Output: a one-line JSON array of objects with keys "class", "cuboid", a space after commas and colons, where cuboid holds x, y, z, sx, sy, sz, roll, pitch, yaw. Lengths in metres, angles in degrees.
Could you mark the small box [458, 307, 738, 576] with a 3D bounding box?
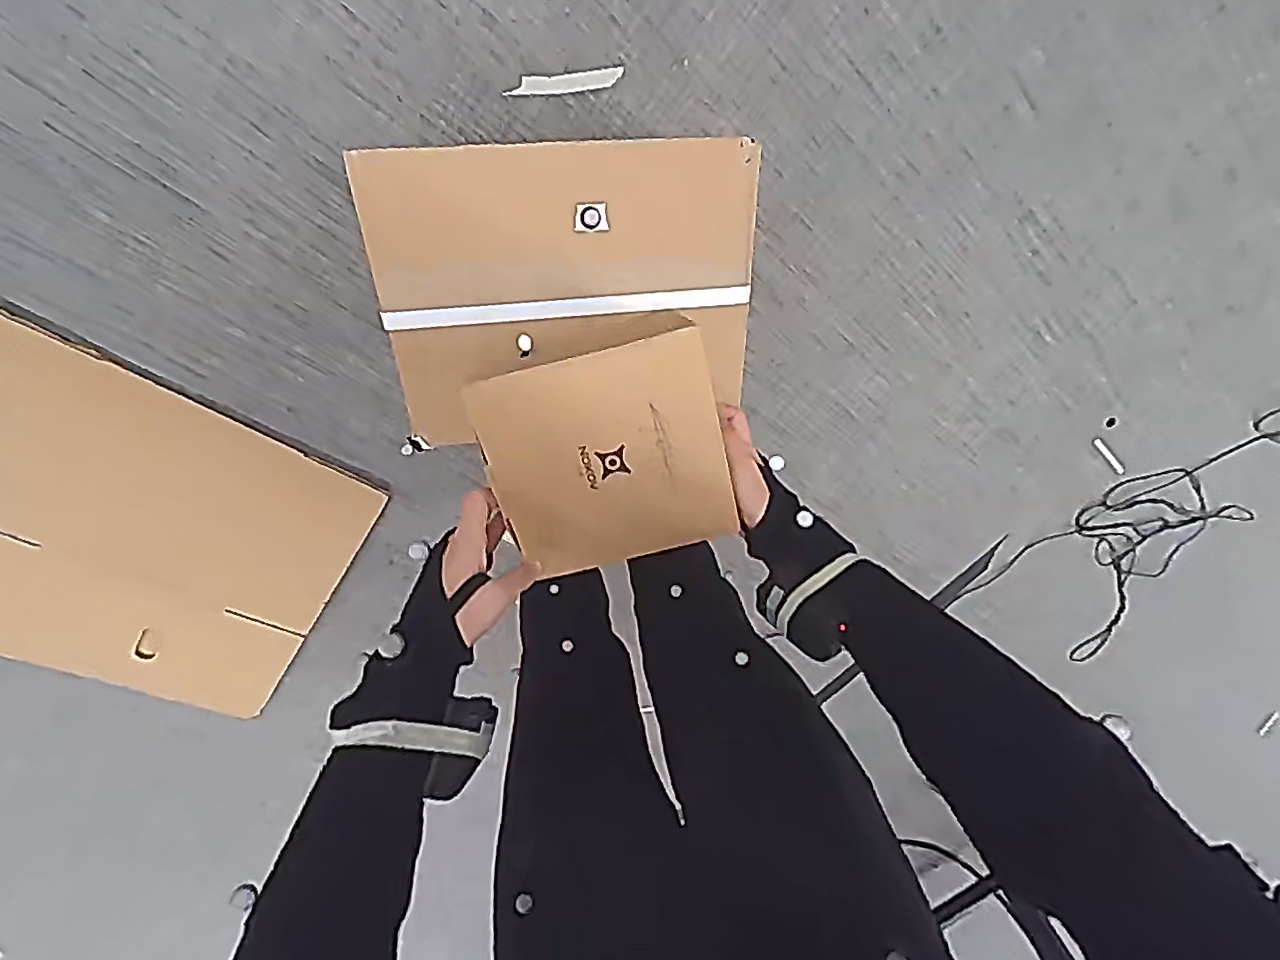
[{"class": "small box", "cuboid": [-0.029, -0.045, 0.474, 0.179, 0.176, 0.168, -15, 112, 2]}]
